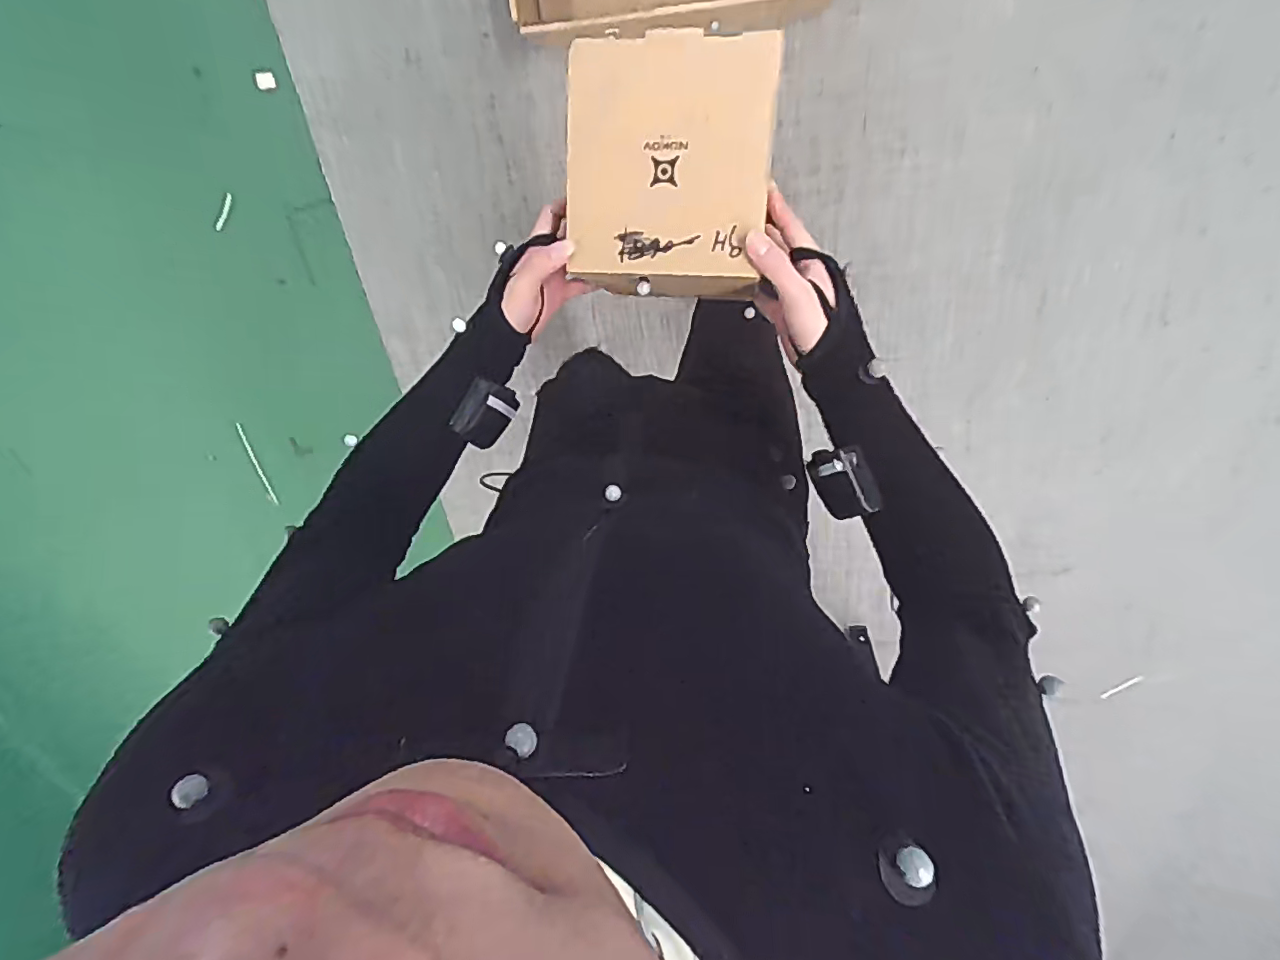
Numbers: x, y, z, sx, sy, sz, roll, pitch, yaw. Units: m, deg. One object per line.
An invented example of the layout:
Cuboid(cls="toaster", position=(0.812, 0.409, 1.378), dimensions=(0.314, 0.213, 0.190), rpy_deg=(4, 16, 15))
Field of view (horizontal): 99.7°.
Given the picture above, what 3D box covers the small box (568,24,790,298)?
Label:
Cuboid(cls="small box", position=(0.038, -0.274, 0.503), dimensions=(0.168, 0.176, 0.179), rpy_deg=(6, 103, 9))
